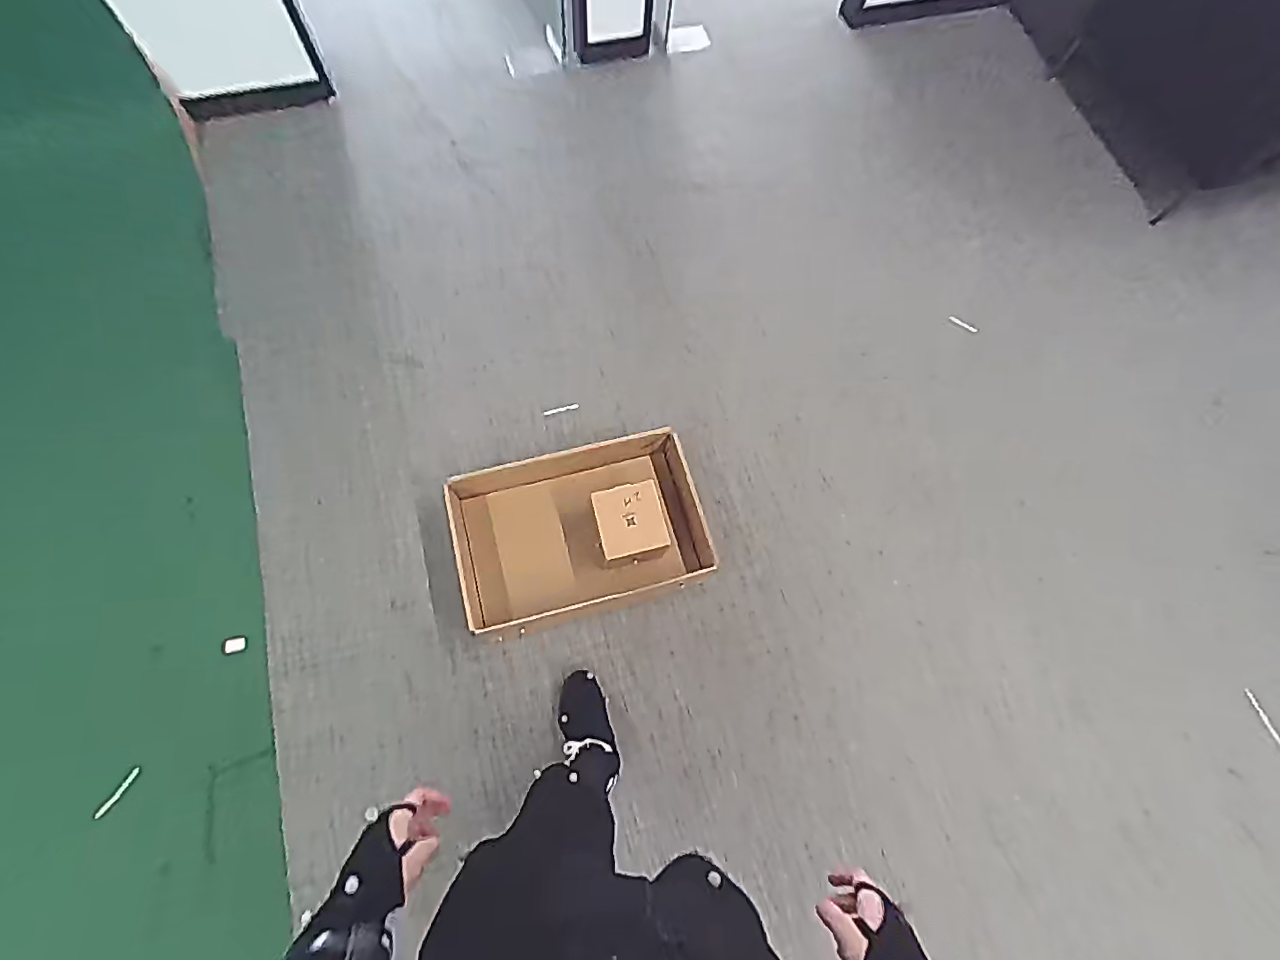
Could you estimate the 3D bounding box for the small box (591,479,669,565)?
[{"bbox_3d":[-0.030,0.117,1.403,0.168,0.176,0.179,-12,73,-9],"label":"small box"}]
